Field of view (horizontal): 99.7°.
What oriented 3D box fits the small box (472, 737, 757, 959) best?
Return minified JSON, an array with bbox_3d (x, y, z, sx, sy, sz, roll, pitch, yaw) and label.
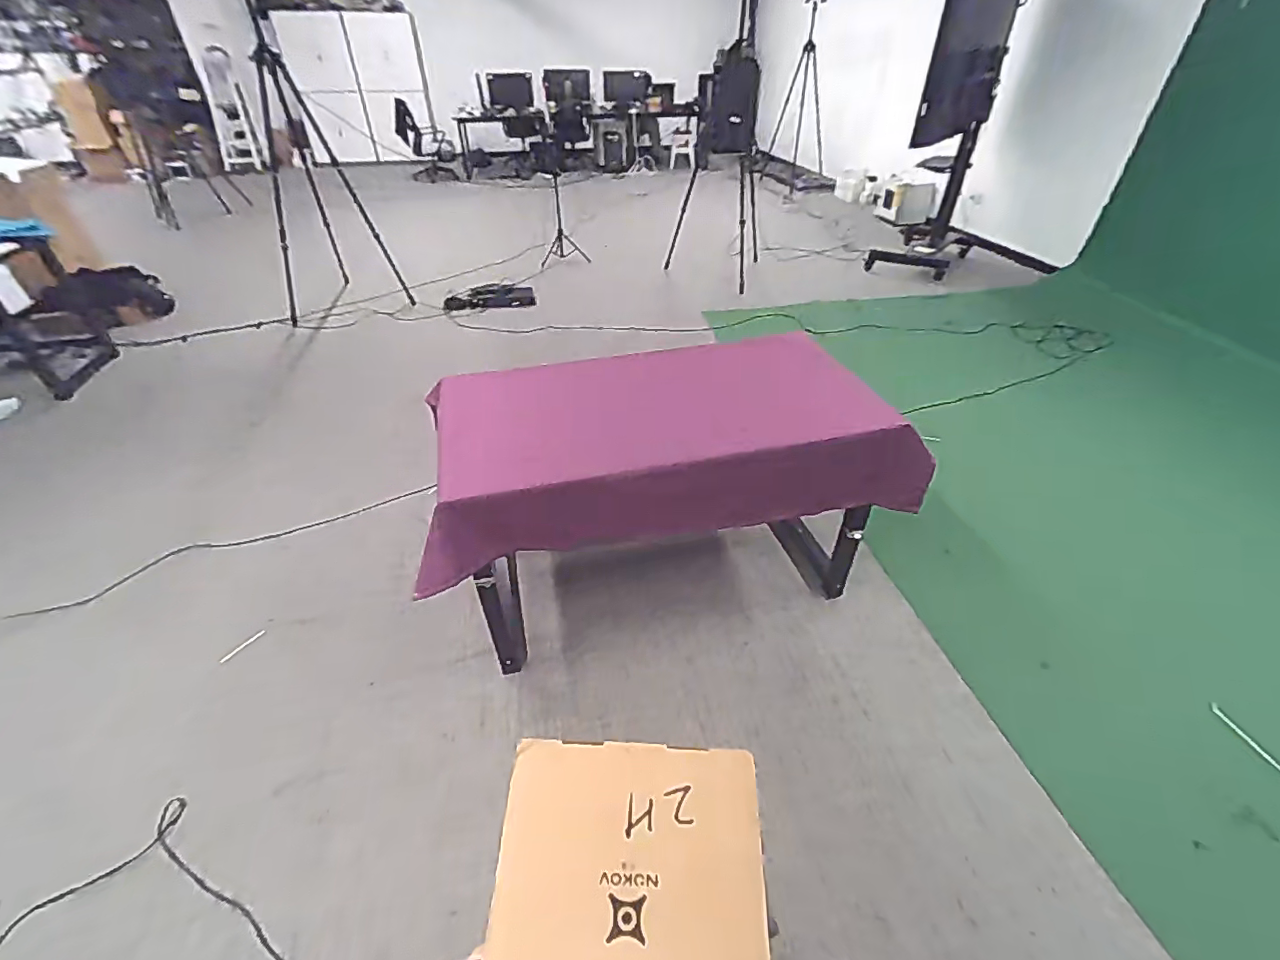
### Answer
[{"bbox_3d":[-0.015,0.300,0.387,0.168,0.176,0.179,3,52,-1],"label":"small box"}]
